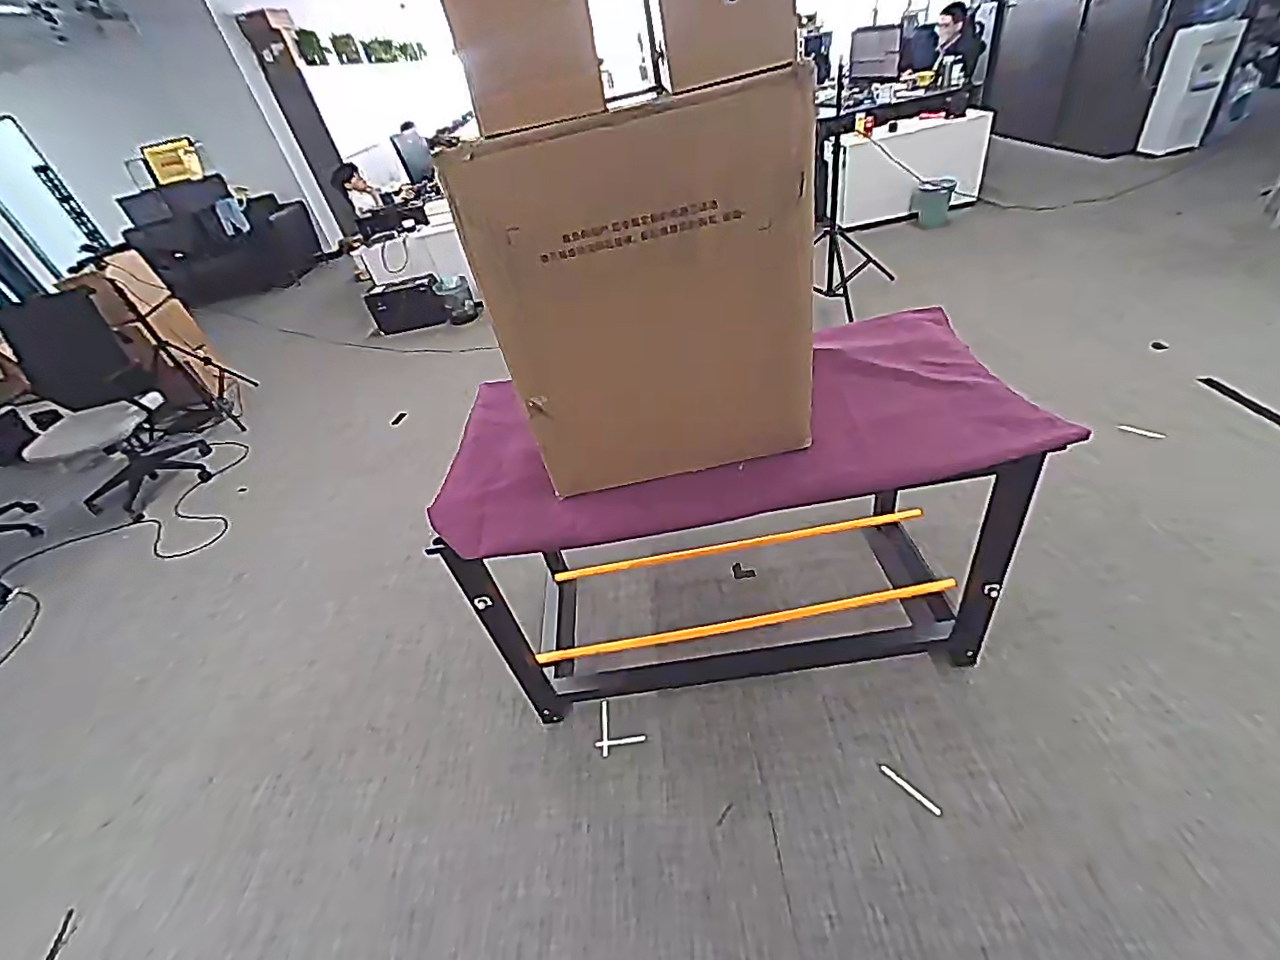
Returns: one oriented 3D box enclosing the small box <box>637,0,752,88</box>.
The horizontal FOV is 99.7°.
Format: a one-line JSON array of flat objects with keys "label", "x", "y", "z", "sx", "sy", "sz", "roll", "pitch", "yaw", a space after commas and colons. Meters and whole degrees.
[{"label": "small box", "x": 0.083, "y": -0.760, "z": 0.883, "sx": 0.168, "sy": 0.176, "sz": 0.179, "roll": -11, "pitch": 38, "yaw": 5}]
